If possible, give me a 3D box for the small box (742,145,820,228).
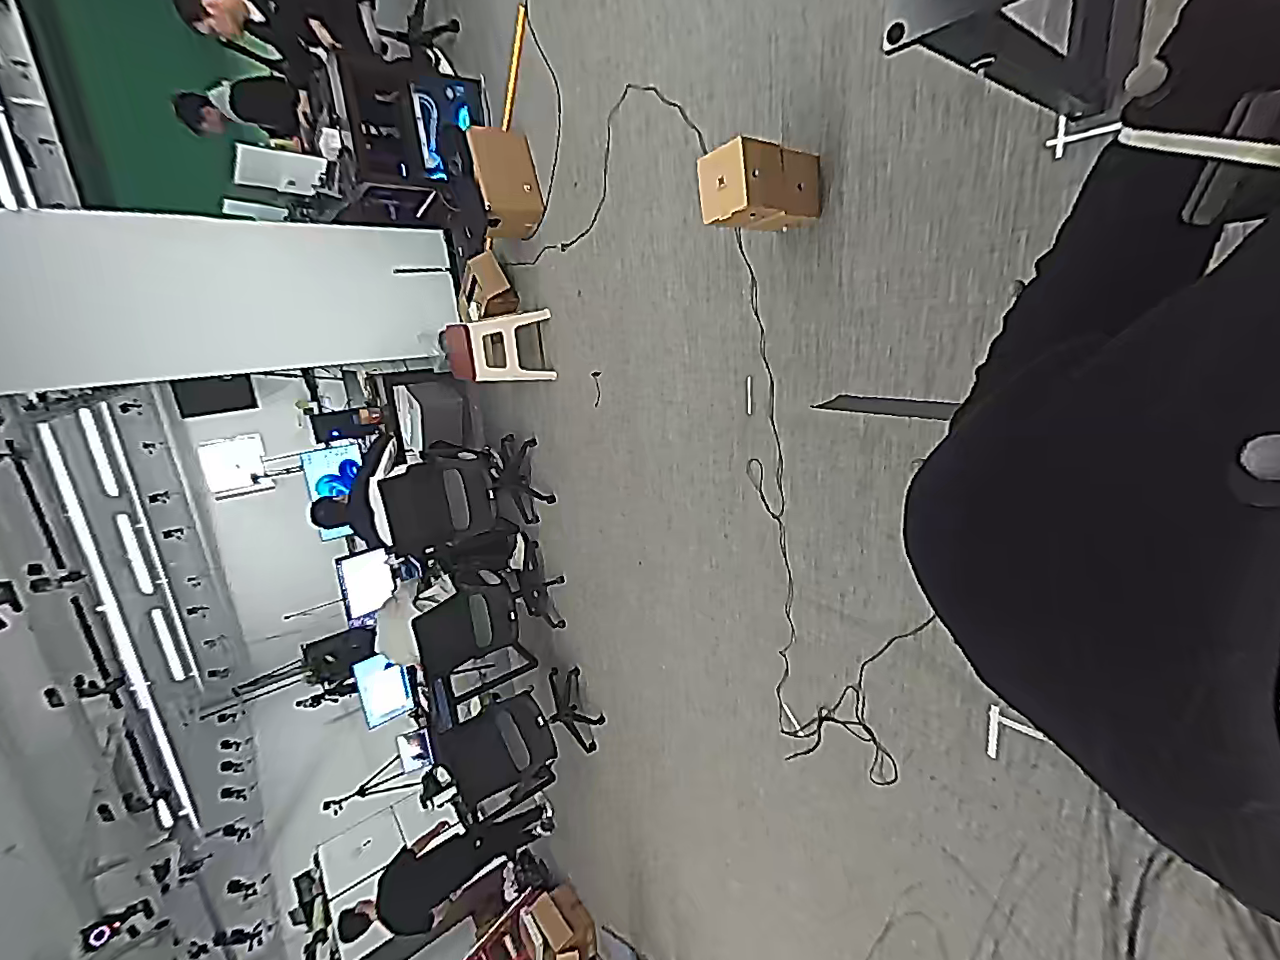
[{"bbox_3d":[0.415,-0.858,1.599,0.168,0.176,0.179,11,113,52],"label":"small box"}]

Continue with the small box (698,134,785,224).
[{"bbox_3d":[0.286,-0.827,1.505,0.168,0.176,0.179,6,107,52],"label":"small box"}]
